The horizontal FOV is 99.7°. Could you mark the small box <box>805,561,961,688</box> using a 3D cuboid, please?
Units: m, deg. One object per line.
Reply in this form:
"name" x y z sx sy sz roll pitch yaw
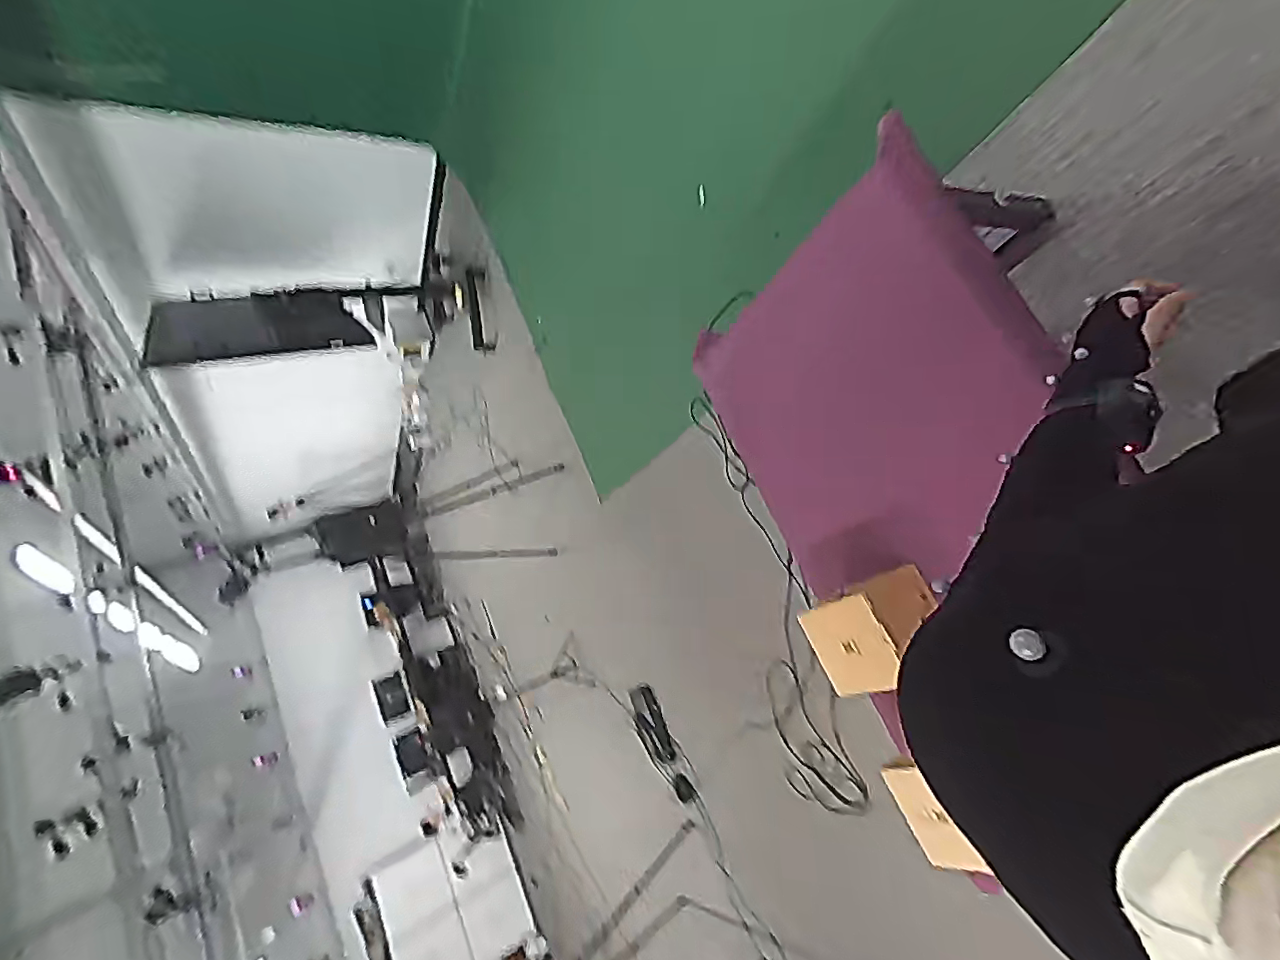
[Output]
"small box" 0.461 0.275 1.031 0.179 0.176 0.168 -46 64 52
